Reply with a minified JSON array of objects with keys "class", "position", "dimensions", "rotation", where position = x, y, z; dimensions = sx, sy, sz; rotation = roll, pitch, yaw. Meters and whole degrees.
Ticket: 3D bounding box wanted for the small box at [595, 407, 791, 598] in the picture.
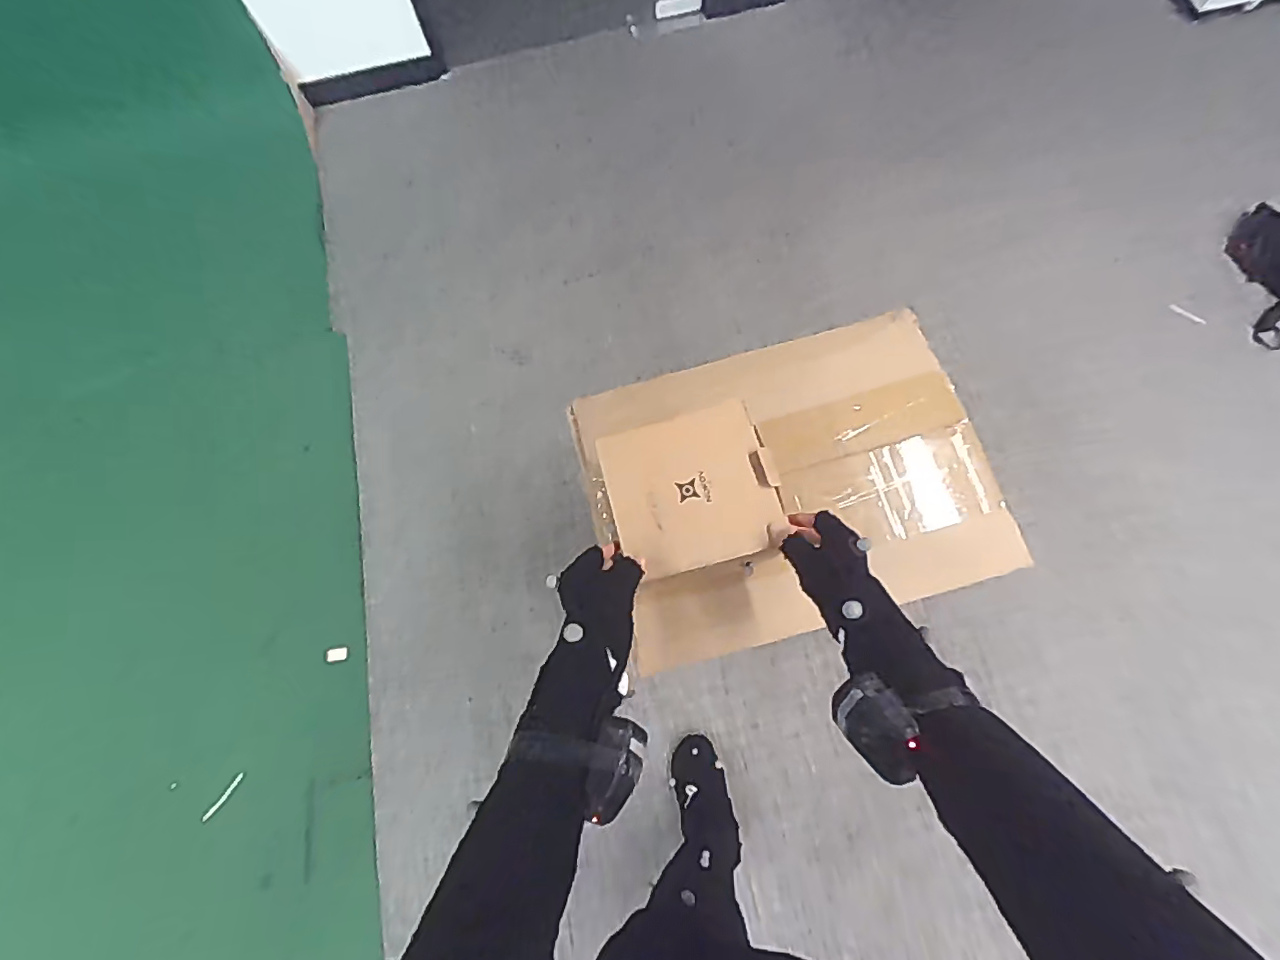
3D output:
[{"class":"small box","position":[0.058,0.037,0.652],"dimensions":[0.179,0.176,0.168],"rotation":[-17,73,0]}]
